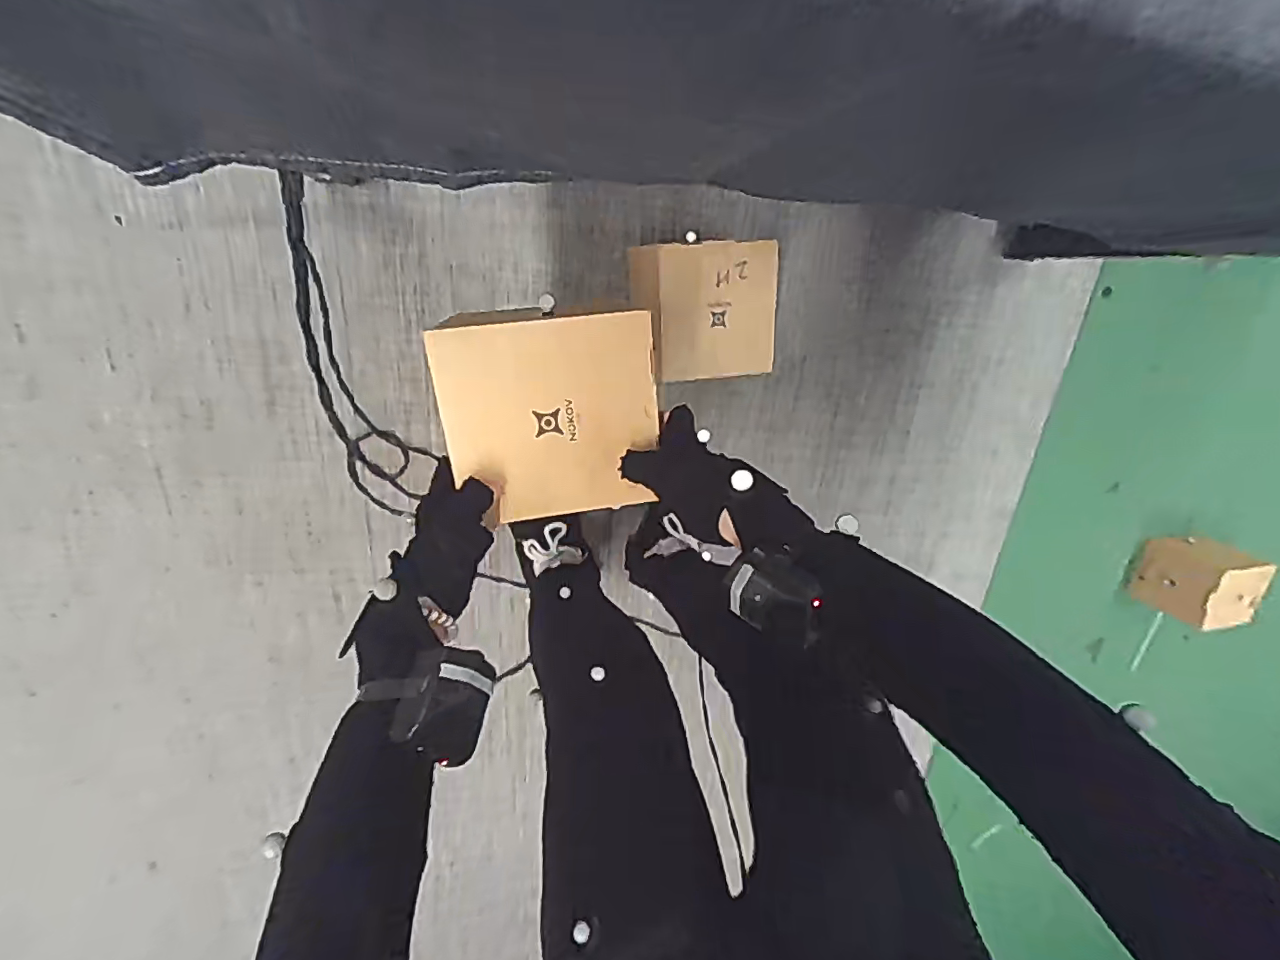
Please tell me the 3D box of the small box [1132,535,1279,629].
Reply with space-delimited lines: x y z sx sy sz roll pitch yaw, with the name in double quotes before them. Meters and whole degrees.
"small box" 1.393 0.246 1.343 0.179 0.176 0.168 -2 112 -14
